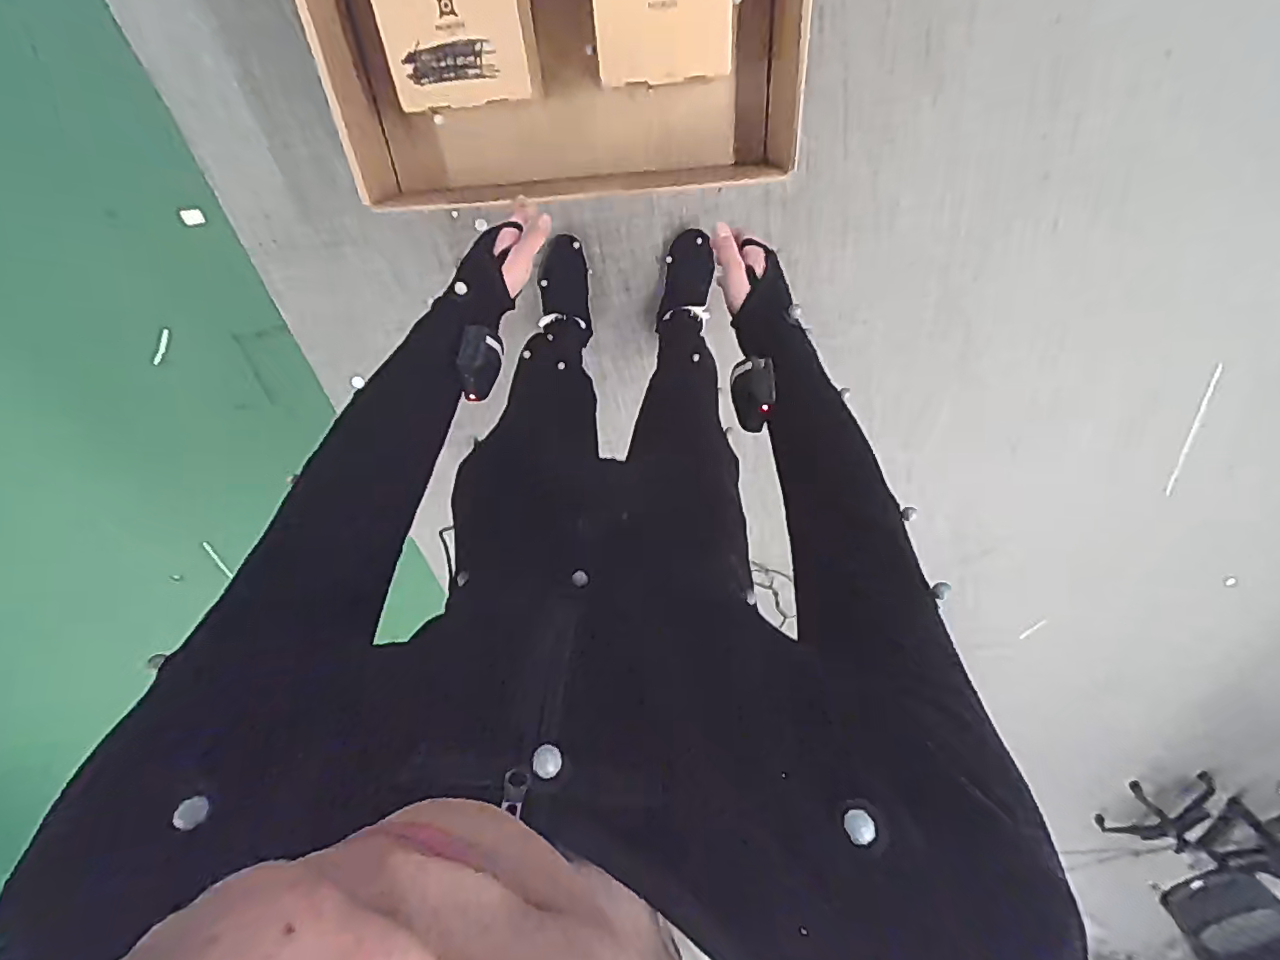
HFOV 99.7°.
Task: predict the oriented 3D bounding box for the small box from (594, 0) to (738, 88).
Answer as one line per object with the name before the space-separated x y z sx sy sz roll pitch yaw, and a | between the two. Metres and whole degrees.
small box | 0.026 -0.608 0.682 0.168 0.176 0.179 -5 127 0

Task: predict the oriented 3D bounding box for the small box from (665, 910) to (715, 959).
small box | 0.186 1.703 1.971 0.168 0.176 0.179 -9 125 1
